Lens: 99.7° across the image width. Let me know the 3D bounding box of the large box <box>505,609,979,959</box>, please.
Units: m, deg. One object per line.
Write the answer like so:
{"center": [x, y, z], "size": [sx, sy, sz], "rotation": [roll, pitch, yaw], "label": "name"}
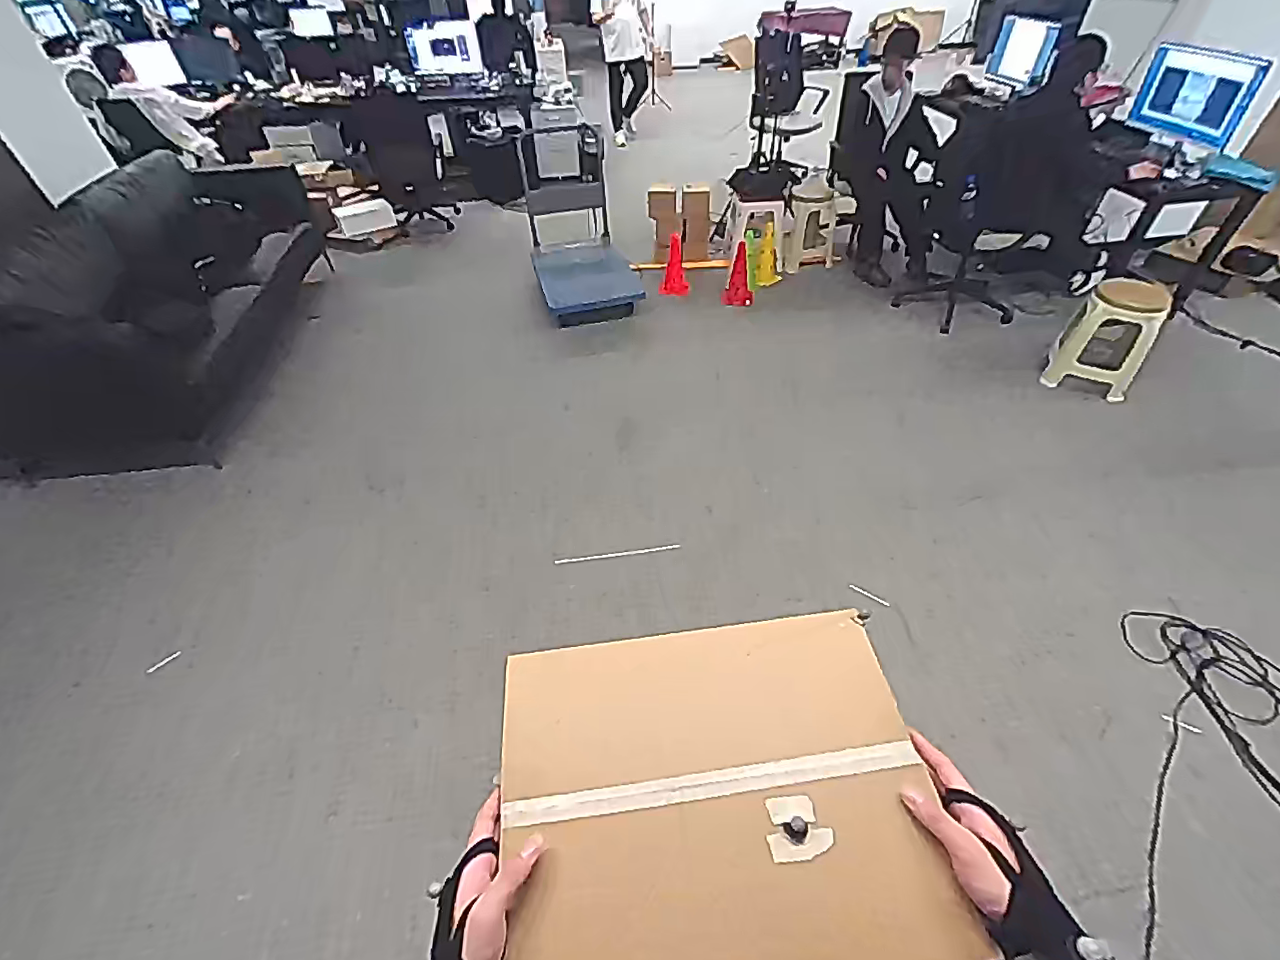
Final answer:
{"center": [0.072, 0.390, 0.643], "size": [0.408, 0.320, 0.320], "rotation": [-7, 49, -3], "label": "large box"}
